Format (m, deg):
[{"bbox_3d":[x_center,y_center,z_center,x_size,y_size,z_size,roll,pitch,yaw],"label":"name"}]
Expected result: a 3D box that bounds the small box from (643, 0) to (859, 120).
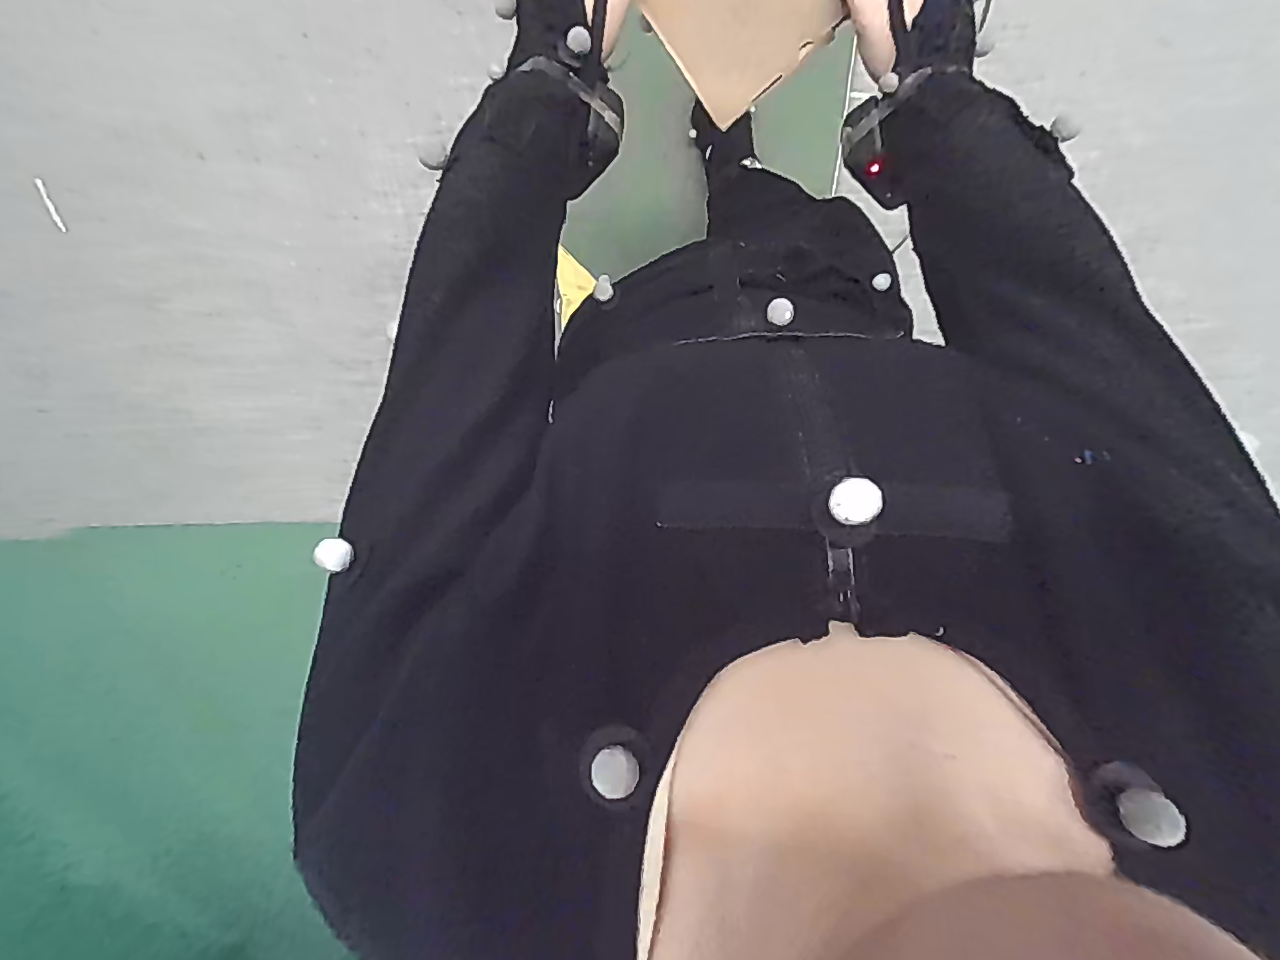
[{"bbox_3d":[0.077,-0.446,0.433,0.168,0.176,0.179,-31,128,28],"label":"small box"}]
